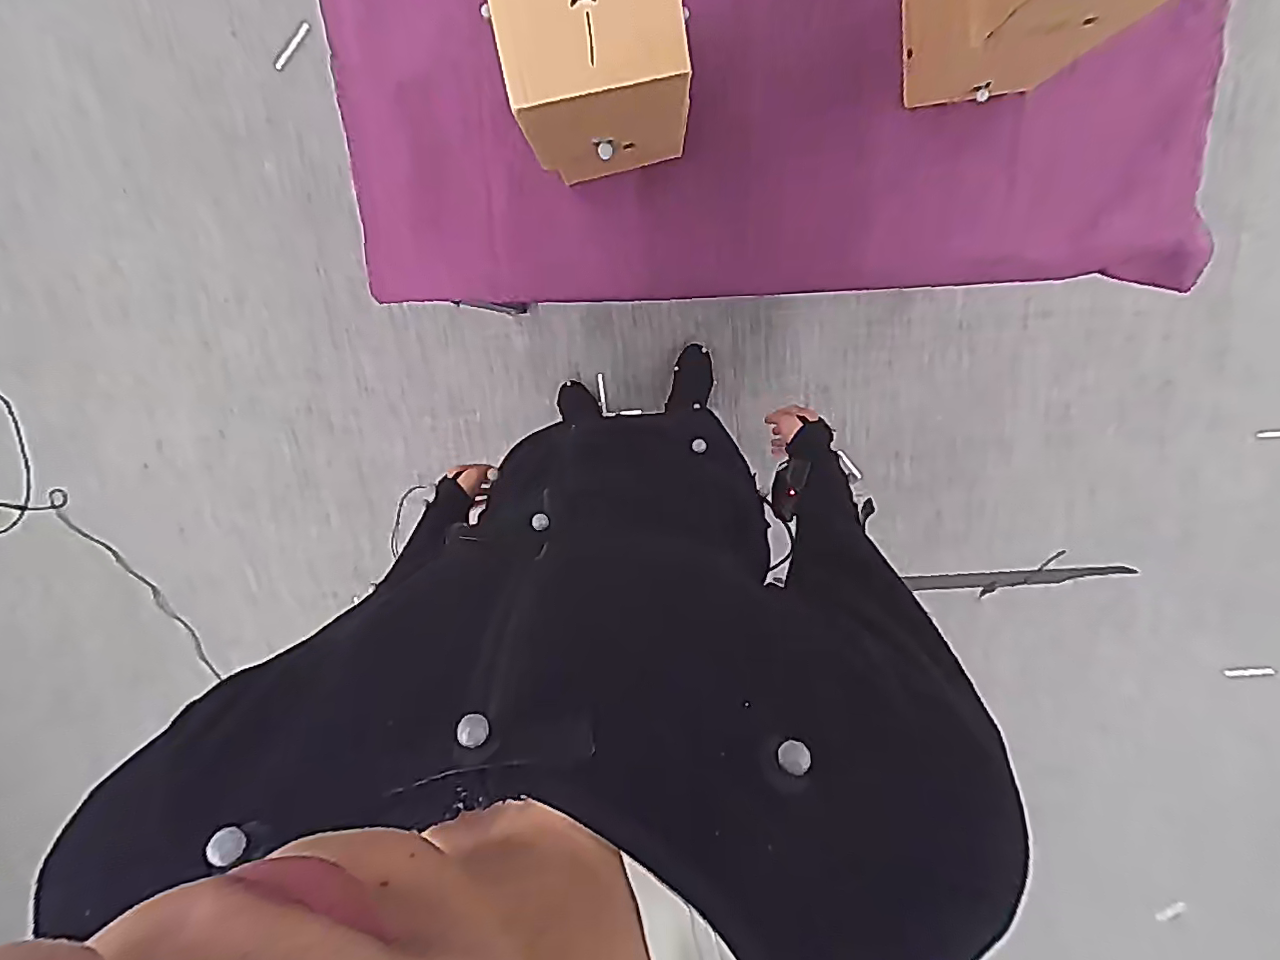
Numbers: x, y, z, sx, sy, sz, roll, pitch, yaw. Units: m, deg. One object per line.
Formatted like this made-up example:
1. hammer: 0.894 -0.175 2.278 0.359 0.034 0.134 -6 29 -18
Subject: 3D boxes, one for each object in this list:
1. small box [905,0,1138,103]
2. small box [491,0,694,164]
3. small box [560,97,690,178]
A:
1. small box: 0.447 -0.589 0.651 0.179 0.176 0.168 -7 103 2
2. small box: -0.046 -0.440 0.525 0.168 0.176 0.179 -10 104 3
3. small box: -0.041 -0.505 0.679 0.179 0.176 0.168 -12 103 3
